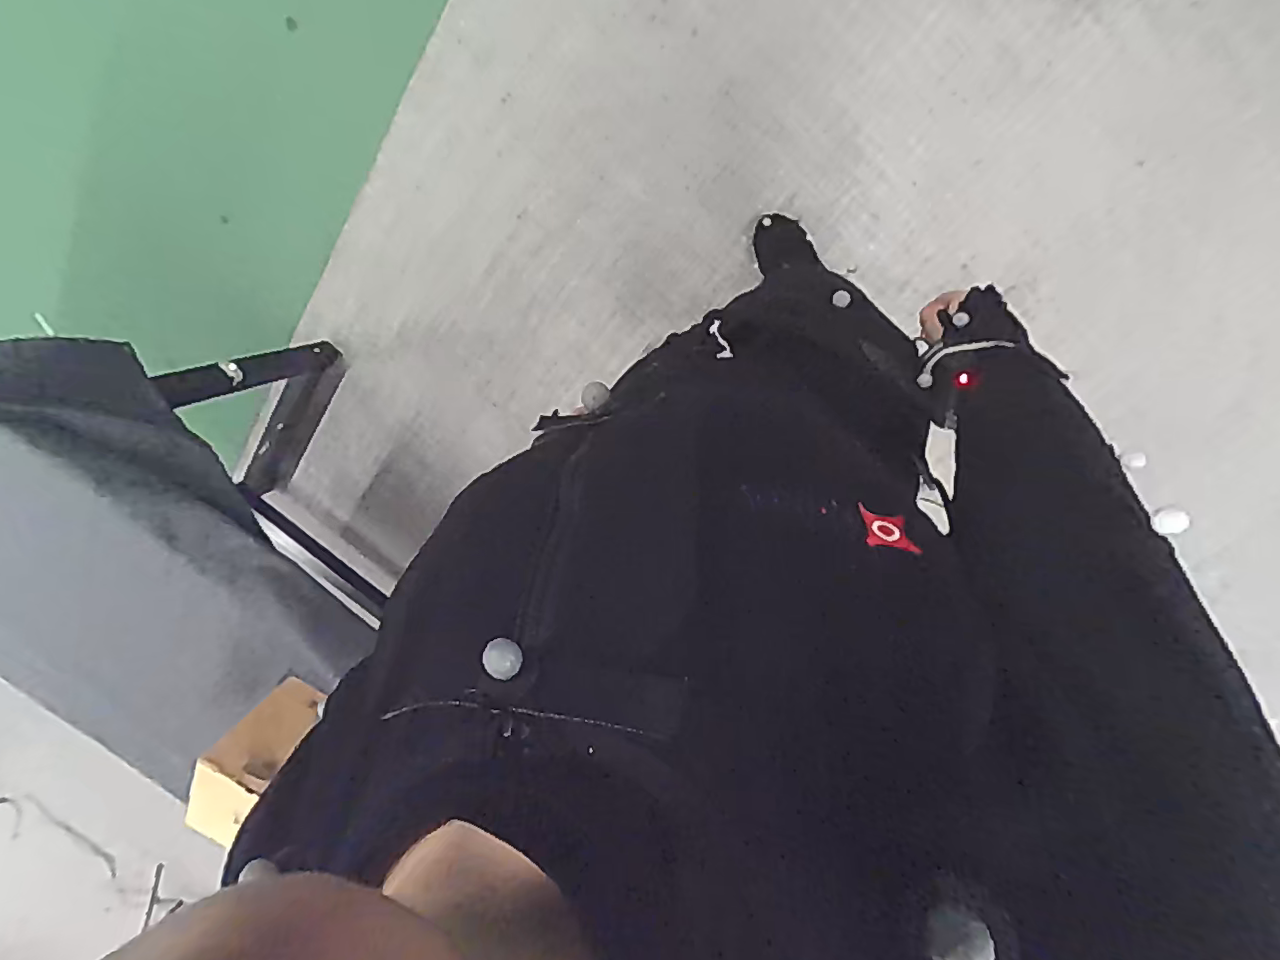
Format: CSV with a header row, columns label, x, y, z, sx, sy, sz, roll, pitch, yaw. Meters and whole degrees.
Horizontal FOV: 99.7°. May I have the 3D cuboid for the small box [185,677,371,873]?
label,x,y,z,sx,sy,sz,roll,pitch,yaw
small box,-0.555,0.452,0.844,0.168,0.176,0.179,30,115,-1
